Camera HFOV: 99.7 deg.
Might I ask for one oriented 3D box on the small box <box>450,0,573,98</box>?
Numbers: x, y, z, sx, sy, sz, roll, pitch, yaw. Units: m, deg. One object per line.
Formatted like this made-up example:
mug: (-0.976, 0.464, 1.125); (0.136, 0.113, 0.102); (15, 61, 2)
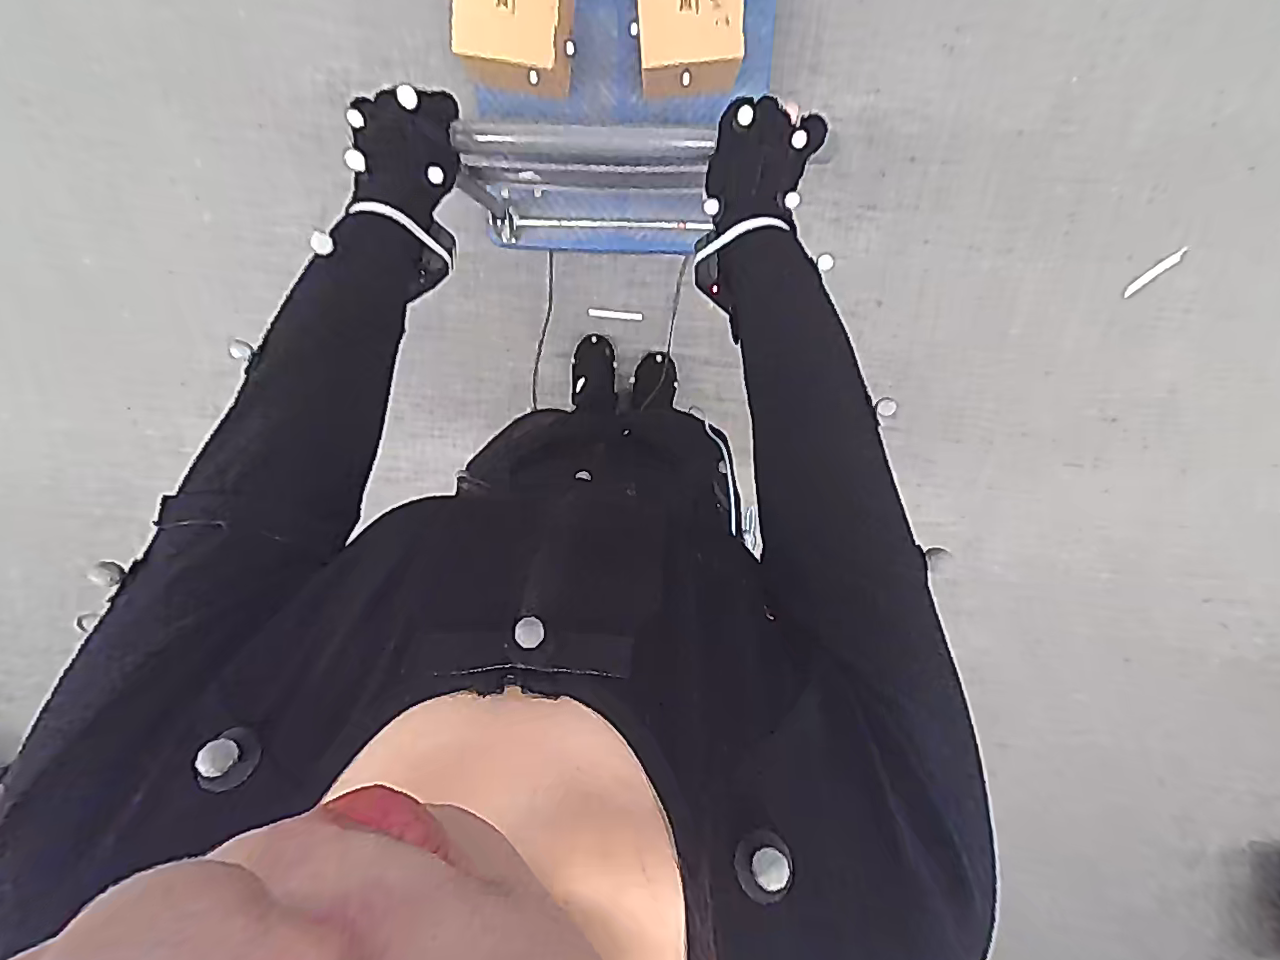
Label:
small box: (-0.223, -0.811, 0.962); (0.179, 0.176, 0.168); (7, 109, -3)

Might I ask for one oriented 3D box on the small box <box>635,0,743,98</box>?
small box: (0.082, -0.803, 0.955); (0.179, 0.176, 0.168); (-4, 109, 3)
